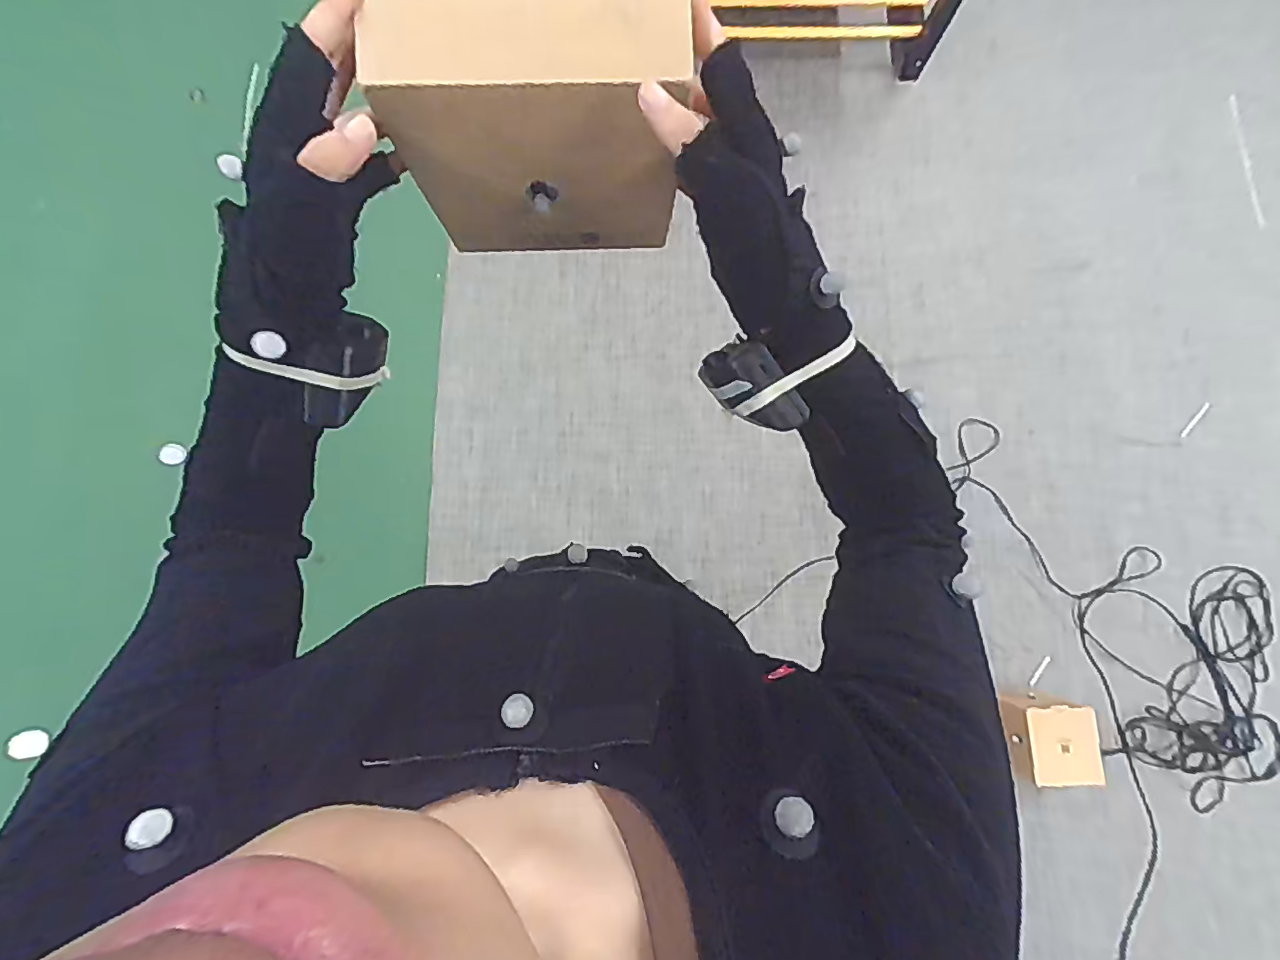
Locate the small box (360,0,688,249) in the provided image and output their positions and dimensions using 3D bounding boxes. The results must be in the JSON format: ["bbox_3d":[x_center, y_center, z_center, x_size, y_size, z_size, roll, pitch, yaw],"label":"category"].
[{"bbox_3d":[-0.060,-0.270,0.354,0.168,0.176,0.179,-2,85,-3],"label":"small box"}]

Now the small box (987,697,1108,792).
[{"bbox_3d":[1.001,0.650,1.344,0.168,0.176,0.179,-1,80,-1],"label":"small box"}]
